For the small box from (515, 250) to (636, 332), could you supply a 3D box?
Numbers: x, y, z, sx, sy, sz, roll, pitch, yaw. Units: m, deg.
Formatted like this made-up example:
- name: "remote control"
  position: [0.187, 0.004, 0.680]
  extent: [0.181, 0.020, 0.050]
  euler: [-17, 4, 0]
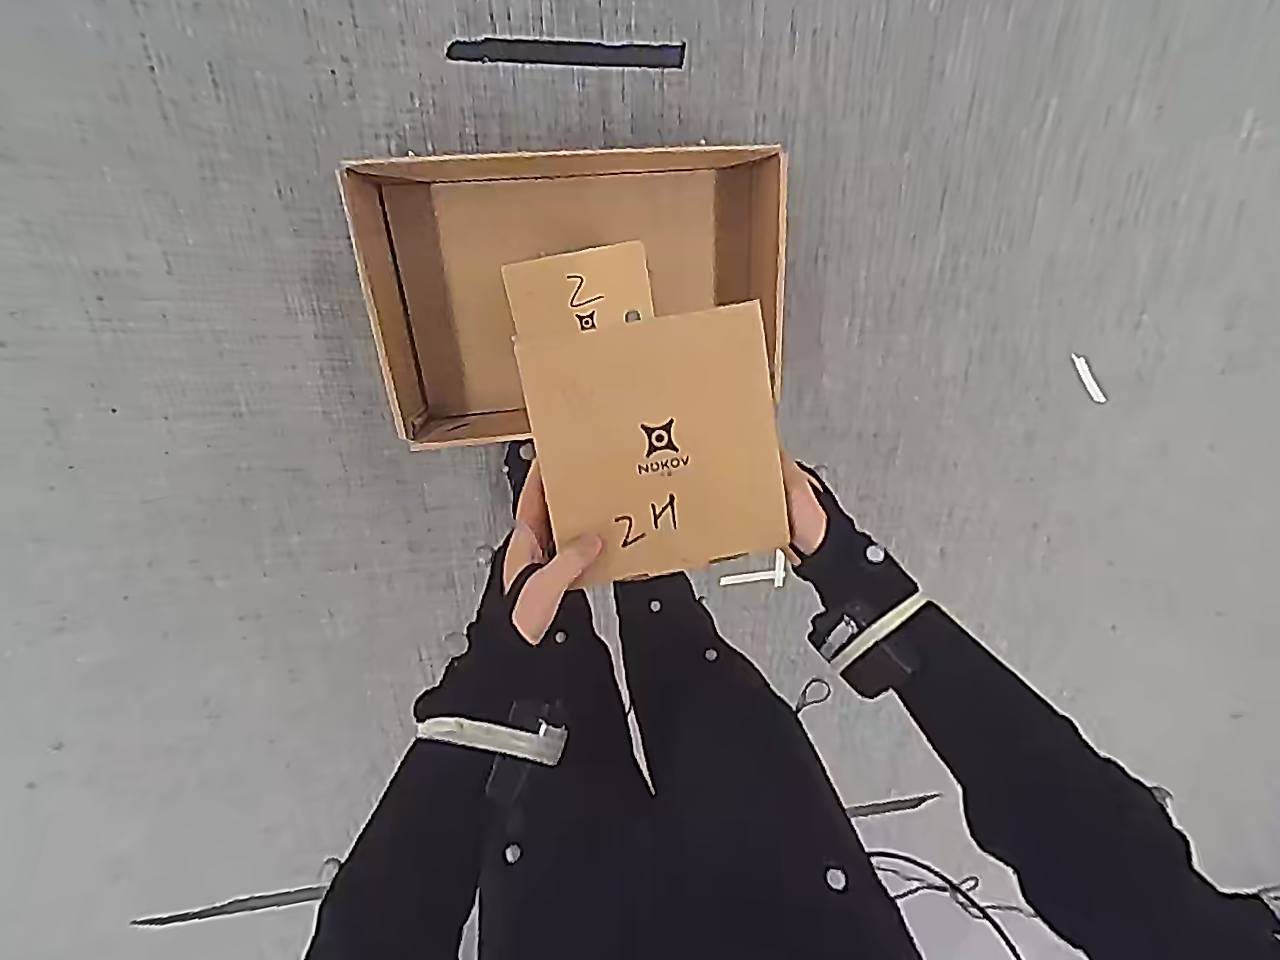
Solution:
- name: "small box"
  position: [-0.100, -0.262, 0.867]
  extent: [0.168, 0.176, 0.179]
  euler: [-11, 114, -5]

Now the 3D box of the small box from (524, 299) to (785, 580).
- name: "small box"
  position: [0.005, -0.040, 0.450]
  extent: [0.168, 0.176, 0.179]
  euler: [-10, 103, -4]
